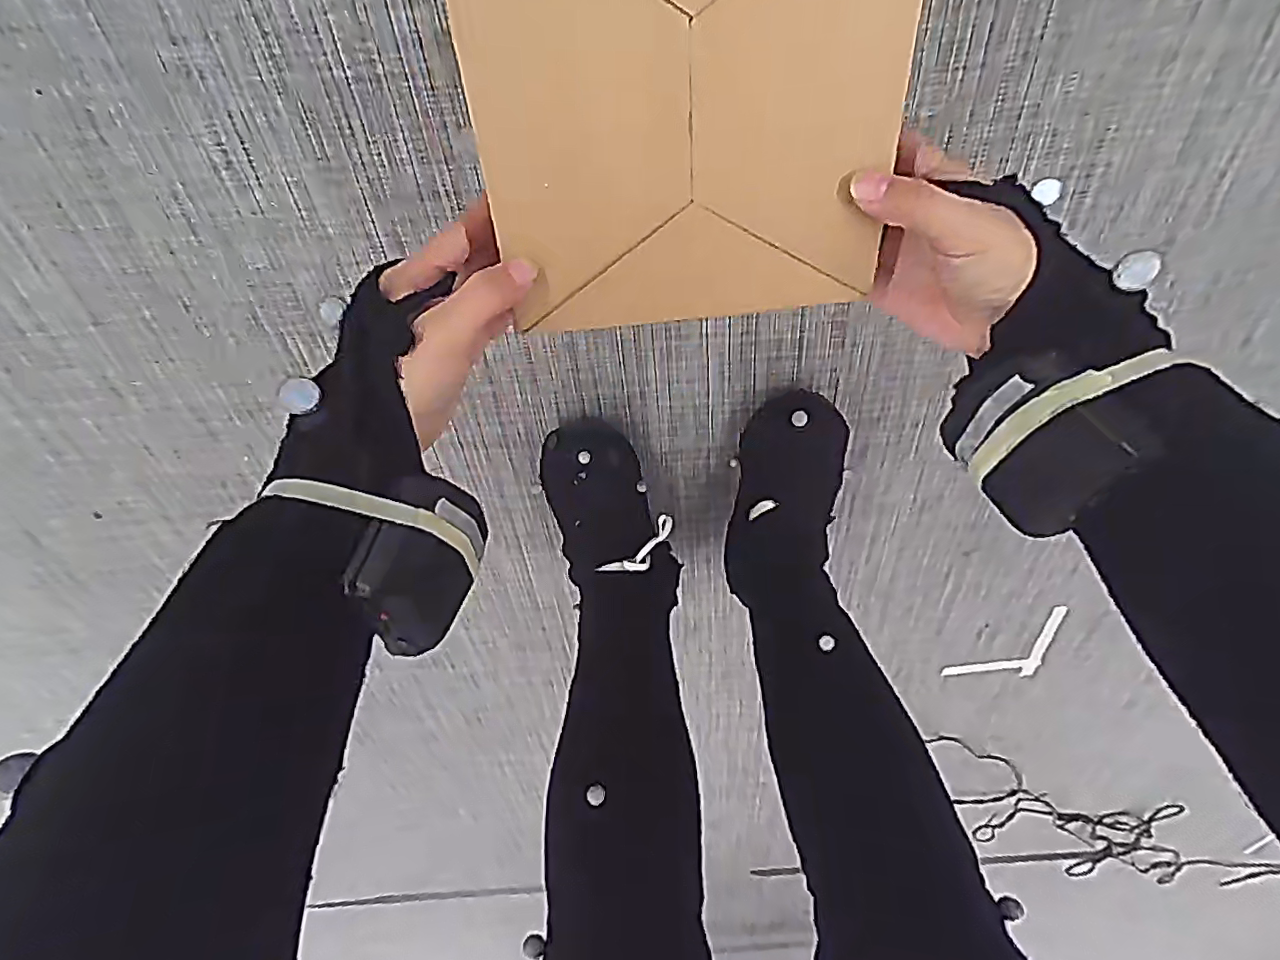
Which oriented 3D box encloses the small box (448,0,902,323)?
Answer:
[{"bbox_3d":[0.015,-0.194,0.283,0.179,0.176,0.168,-7,127,-3],"label":"small box"}]
